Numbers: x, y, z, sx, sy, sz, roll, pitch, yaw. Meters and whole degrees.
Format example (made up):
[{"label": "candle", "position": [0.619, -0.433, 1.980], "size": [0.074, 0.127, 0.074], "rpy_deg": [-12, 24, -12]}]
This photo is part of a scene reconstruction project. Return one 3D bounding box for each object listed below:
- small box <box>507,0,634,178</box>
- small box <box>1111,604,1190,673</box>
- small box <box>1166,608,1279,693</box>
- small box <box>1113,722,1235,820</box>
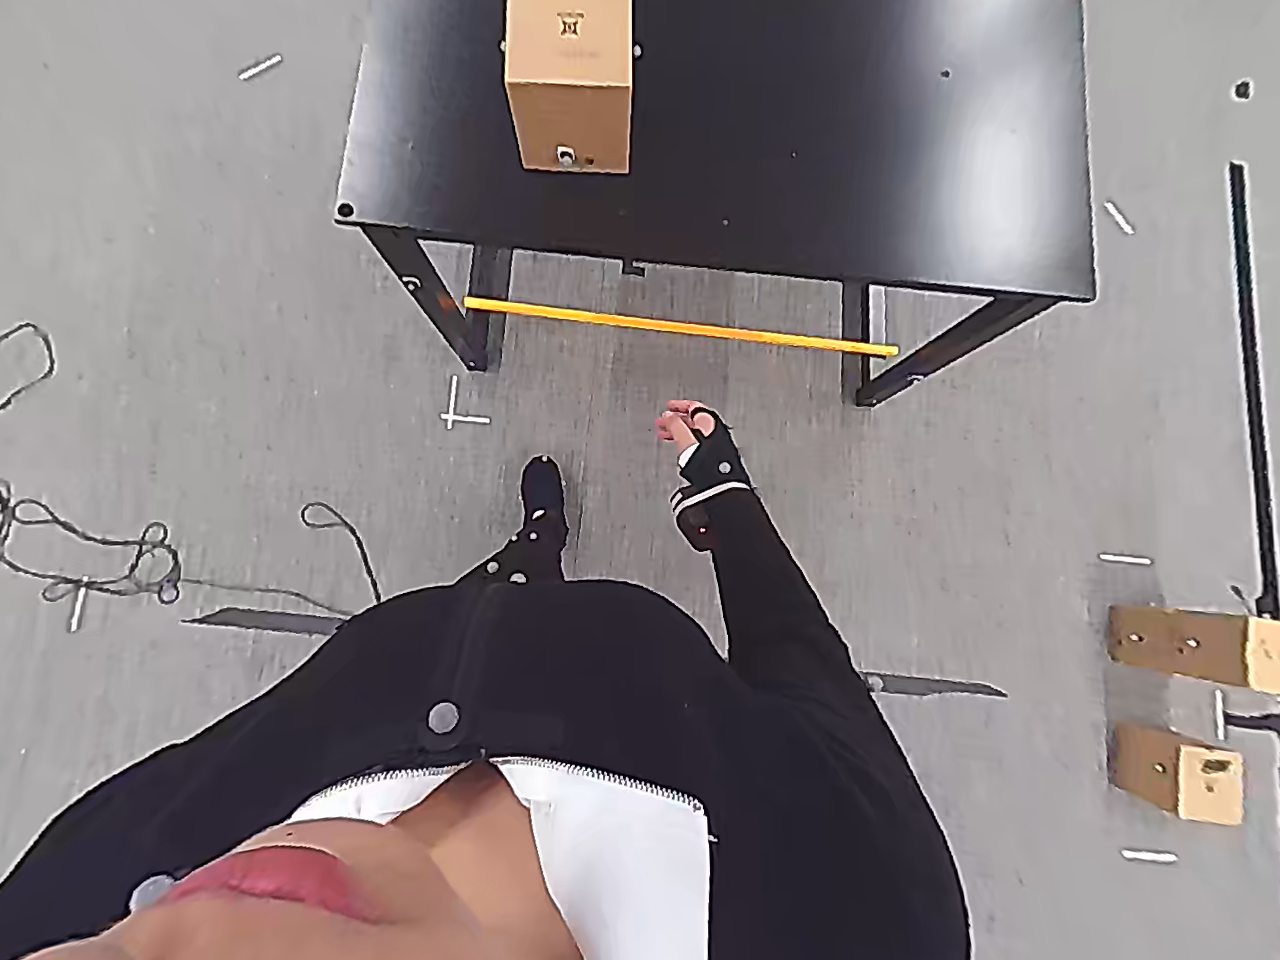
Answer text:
[{"label": "small box", "position": [-0.095, -0.579, 0.787], "size": [0.168, 0.176, 0.179], "rpy_deg": [-1, 83, -3]}, {"label": "small box", "position": [1.437, 0.433, 1.478], "size": [0.179, 0.176, 0.168], "rpy_deg": [5, 82, -2]}, {"label": "small box", "position": [1.449, 0.412, 1.314], "size": [0.179, 0.176, 0.168], "rpy_deg": [10, 81, -2]}, {"label": "small box", "position": [1.409, 0.763, 1.435], "size": [0.168, 0.176, 0.179], "rpy_deg": [8, 83, -2]}]
